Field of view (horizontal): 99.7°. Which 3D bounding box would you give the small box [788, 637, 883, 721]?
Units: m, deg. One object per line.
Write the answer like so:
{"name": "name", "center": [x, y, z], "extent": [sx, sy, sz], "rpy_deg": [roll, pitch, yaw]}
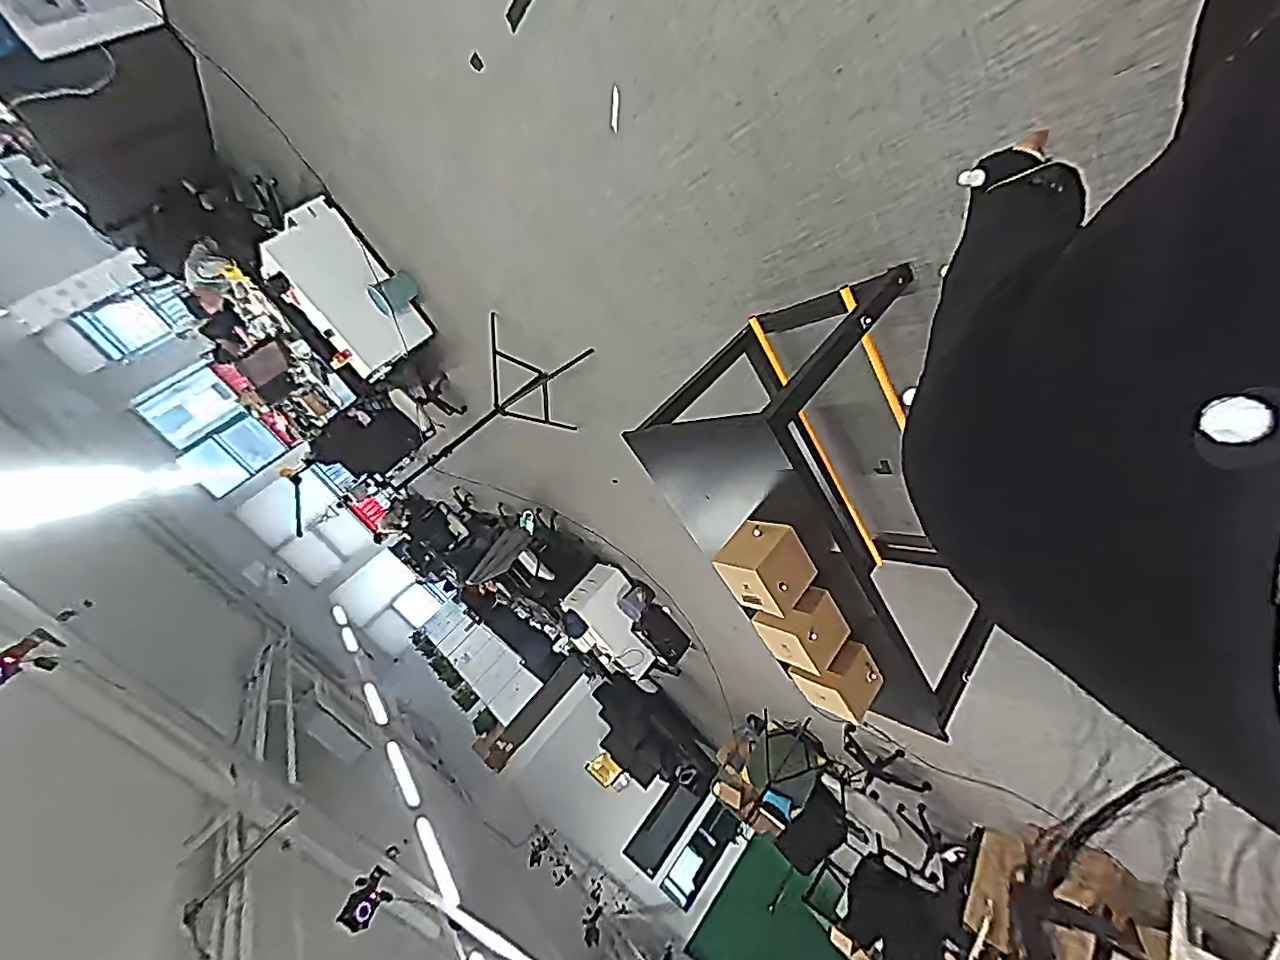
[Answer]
{"name": "small box", "center": [0.584, 0.572, 1.609], "extent": [0.168, 0.176, 0.179], "rpy_deg": [53, 154, -22]}

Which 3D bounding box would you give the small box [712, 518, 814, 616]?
{"name": "small box", "center": [0.331, 0.225, 1.440], "extent": [0.168, 0.176, 0.179], "rpy_deg": [4, 133, 56]}

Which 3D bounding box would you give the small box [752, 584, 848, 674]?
{"name": "small box", "center": [0.457, 0.407, 1.536], "extent": [0.168, 0.176, 0.179], "rpy_deg": [5, 135, 56]}
